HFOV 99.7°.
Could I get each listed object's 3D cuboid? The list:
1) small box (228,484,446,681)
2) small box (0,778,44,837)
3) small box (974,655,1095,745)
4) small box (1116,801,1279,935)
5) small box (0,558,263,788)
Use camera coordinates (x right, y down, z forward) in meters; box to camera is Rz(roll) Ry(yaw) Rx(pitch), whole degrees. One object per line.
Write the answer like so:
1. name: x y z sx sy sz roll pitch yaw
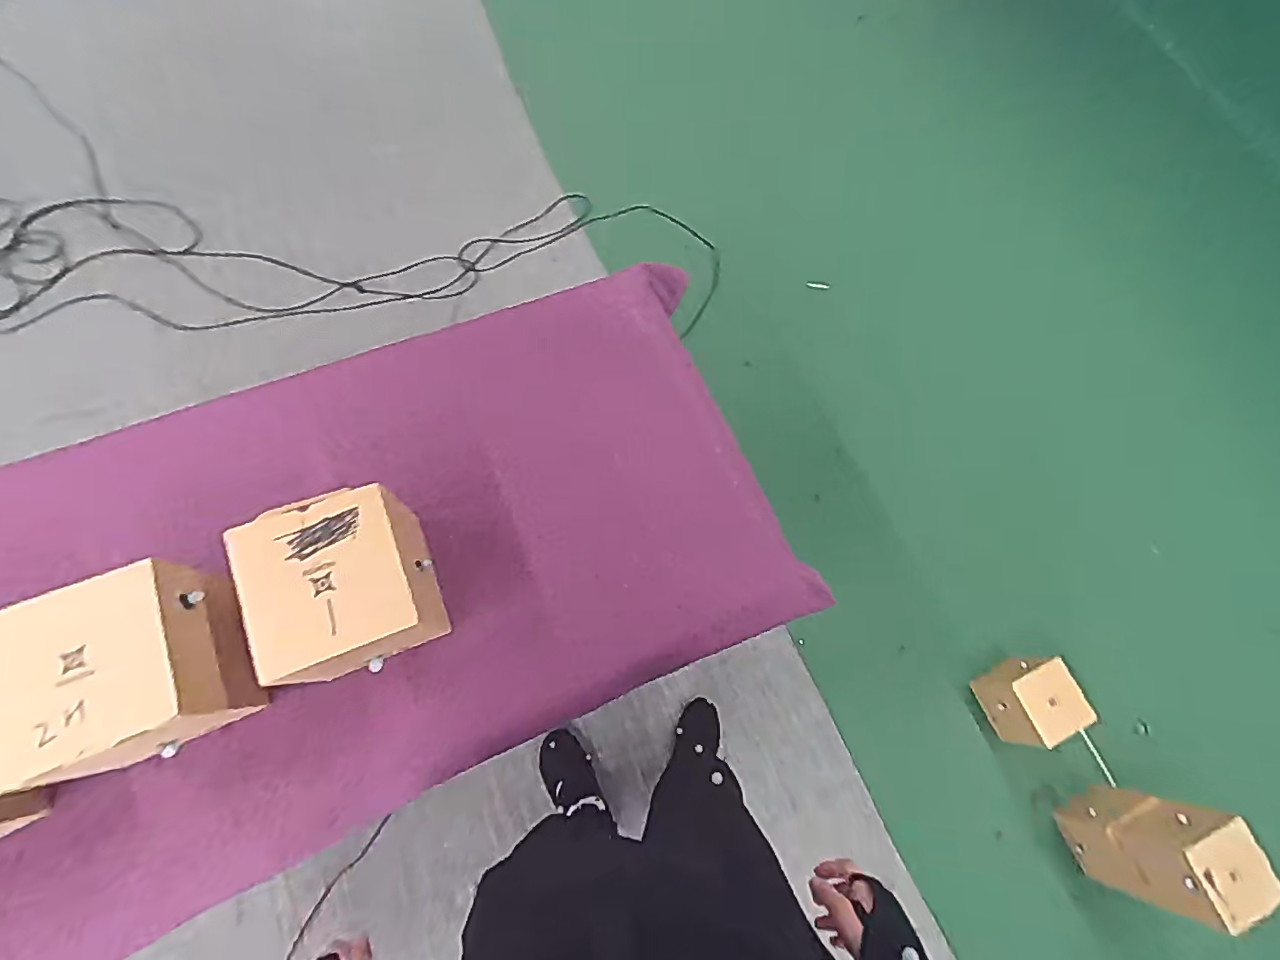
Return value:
1. small box: -0.357 0.130 0.665 0.168 0.176 0.179 -20 76 -13
2. small box: -0.787 0.320 0.550 0.168 0.176 0.179 -27 77 -14
3. small box: 1.042 0.586 1.452 0.179 0.176 0.168 -21 75 -14
4. small box: 1.242 0.852 1.211 0.179 0.176 0.168 -18 75 -13
5. small box: -0.571 0.211 0.612 0.168 0.176 0.179 -21 76 -13
